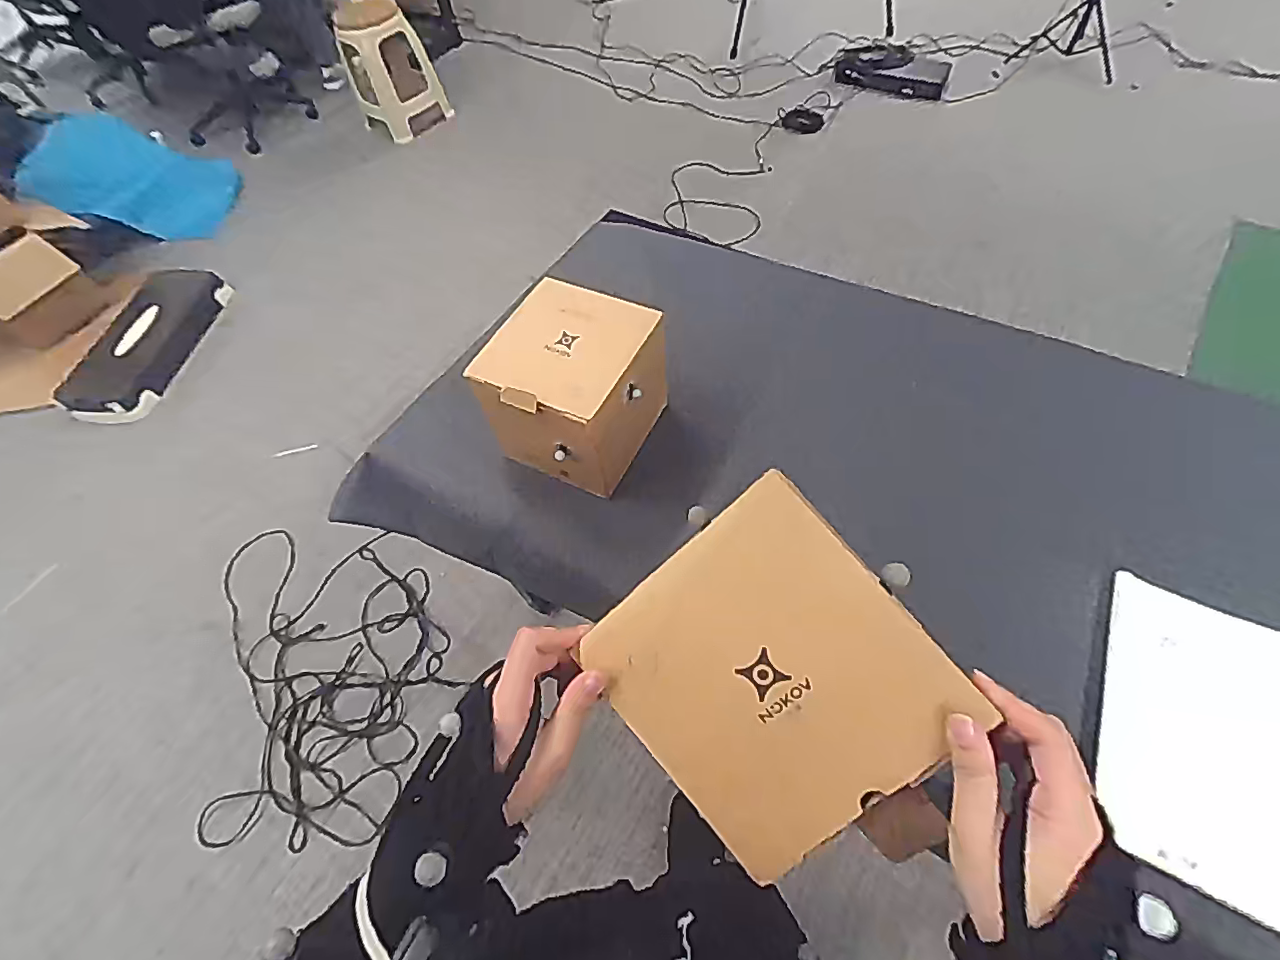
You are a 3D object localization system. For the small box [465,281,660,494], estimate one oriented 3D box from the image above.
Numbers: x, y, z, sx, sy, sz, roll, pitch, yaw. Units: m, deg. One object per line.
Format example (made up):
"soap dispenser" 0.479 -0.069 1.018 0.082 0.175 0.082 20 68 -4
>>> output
"small box" -0.080 -0.110 0.677 0.168 0.176 0.179 22 62 16
